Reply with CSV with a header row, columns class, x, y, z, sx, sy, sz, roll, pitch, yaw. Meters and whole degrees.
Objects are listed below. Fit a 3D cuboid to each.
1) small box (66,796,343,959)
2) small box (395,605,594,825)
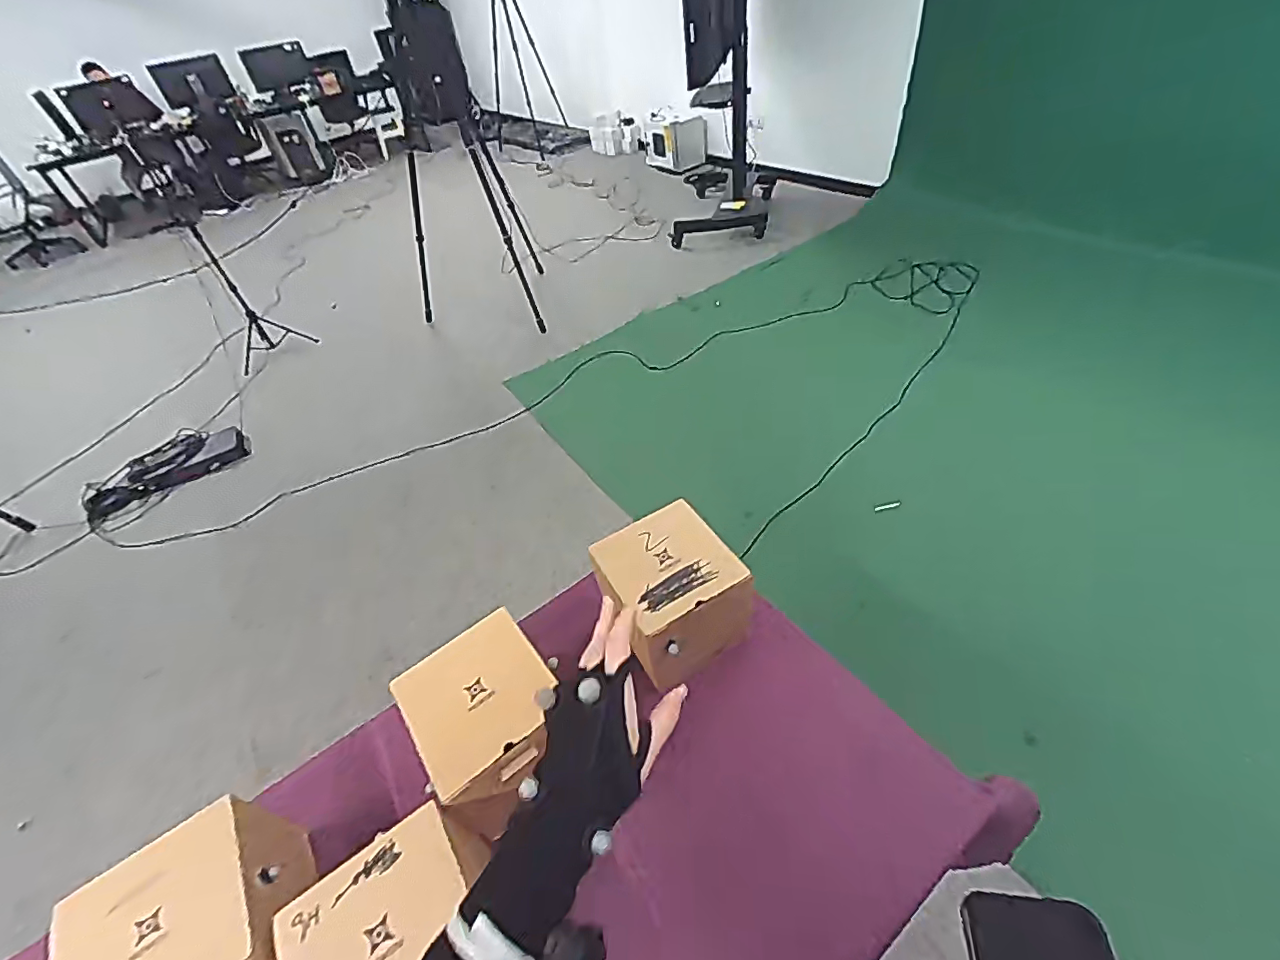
class,x,y,z,sx,sy,sz,roll,pitch,yaw
small box,-0.452,0.490,0.580,0.168,0.176,0.179,-31,48,-21
small box,-0.182,0.308,0.708,0.168,0.176,0.179,-34,51,-21
